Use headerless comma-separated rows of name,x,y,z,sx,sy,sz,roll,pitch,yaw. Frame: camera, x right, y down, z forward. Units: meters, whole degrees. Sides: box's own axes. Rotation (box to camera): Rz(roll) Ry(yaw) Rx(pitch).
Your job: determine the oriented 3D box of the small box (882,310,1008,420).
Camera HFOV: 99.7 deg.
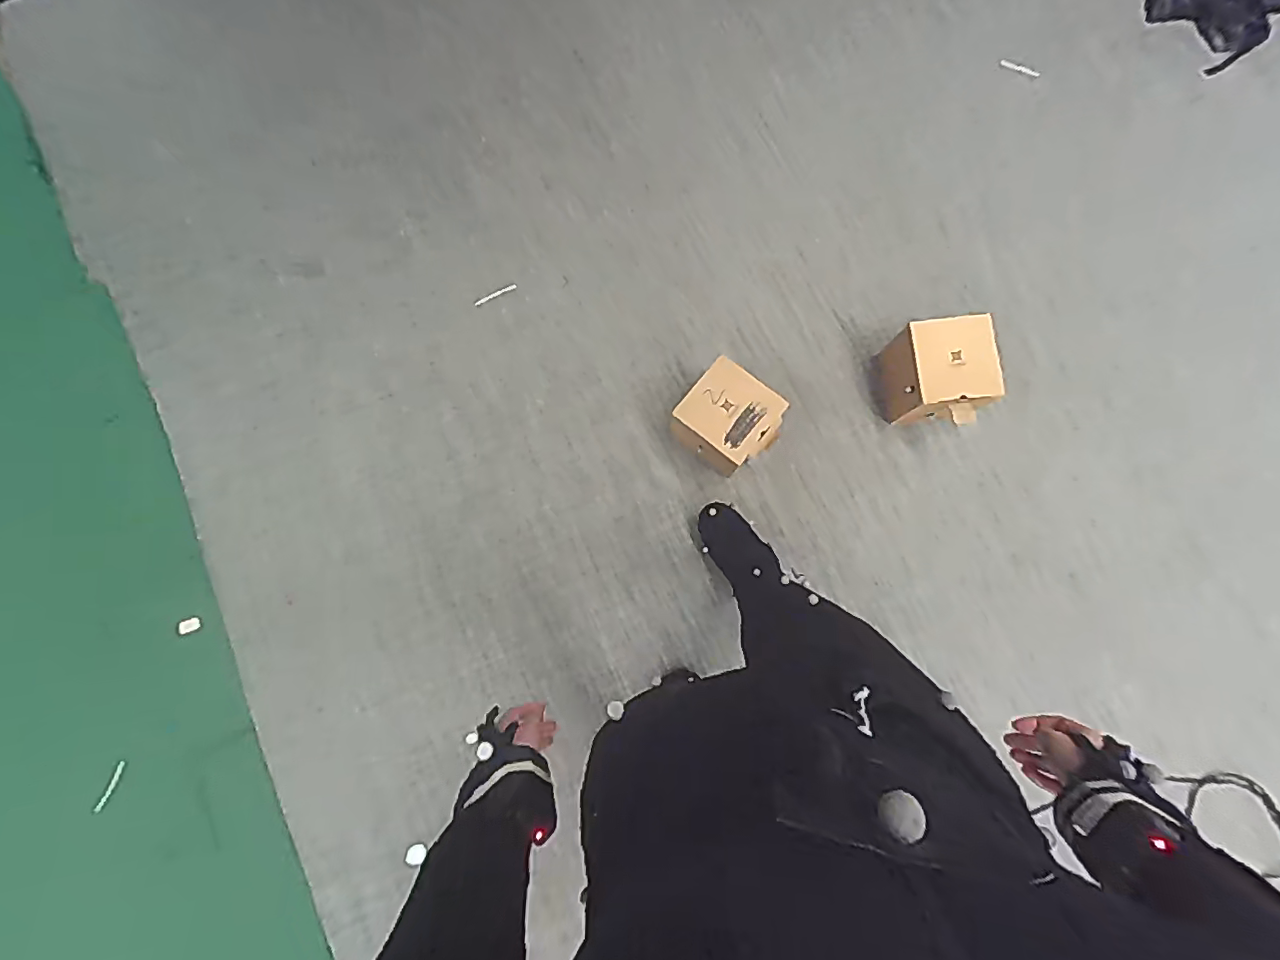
small box,0.639,-0.239,1.155,0.168,0.176,0.179,-5,83,1
